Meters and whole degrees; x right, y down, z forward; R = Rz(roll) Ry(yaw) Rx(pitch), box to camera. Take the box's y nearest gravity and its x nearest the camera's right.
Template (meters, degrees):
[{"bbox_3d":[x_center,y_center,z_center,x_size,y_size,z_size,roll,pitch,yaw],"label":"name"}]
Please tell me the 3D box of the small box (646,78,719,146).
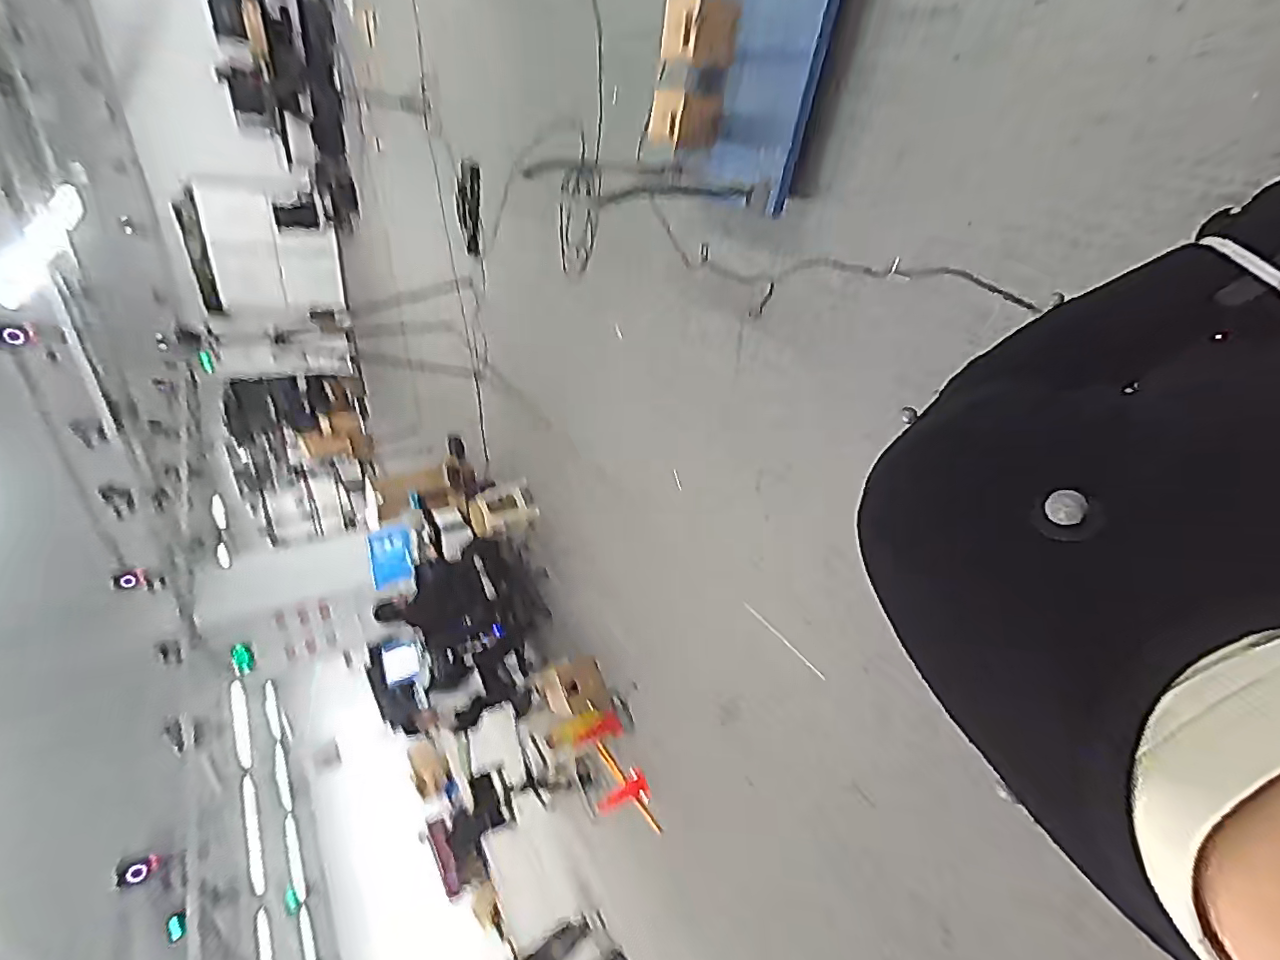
[{"bbox_3d":[0.148,-1.277,1.881,0.179,0.176,0.168,46,136,38],"label":"small box"}]
